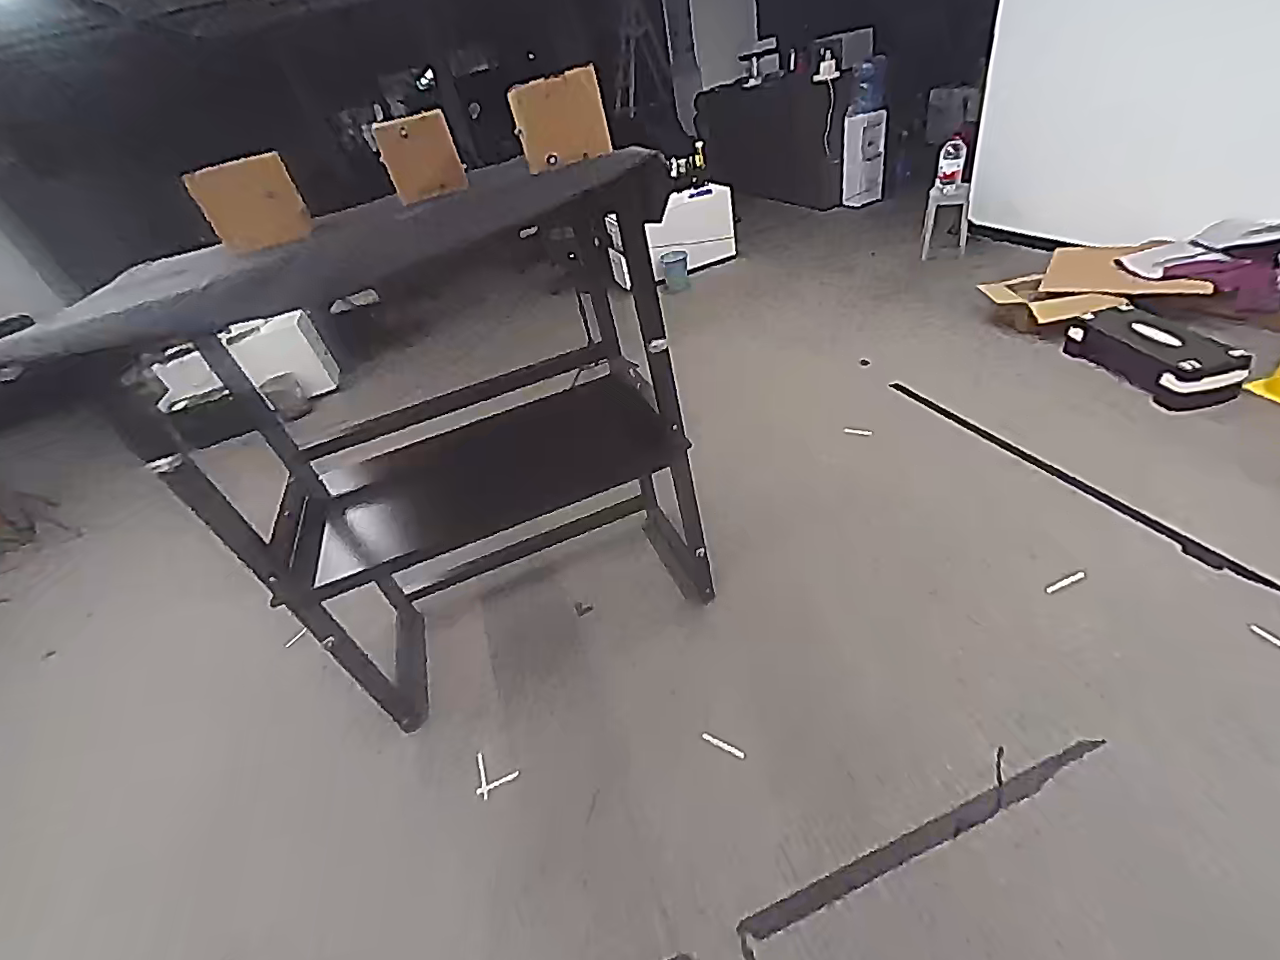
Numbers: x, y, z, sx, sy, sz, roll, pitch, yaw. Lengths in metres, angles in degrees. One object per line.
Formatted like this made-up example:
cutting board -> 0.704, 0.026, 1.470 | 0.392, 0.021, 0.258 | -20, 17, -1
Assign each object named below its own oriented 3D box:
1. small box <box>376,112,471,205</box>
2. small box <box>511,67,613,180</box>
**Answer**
small box -> -0.539, -0.803, 1.356 | 0.168, 0.176, 0.179 | -22, 37, -9
small box -> -0.169, -0.768, 1.179 | 0.168, 0.176, 0.179 | -20, 33, -7
